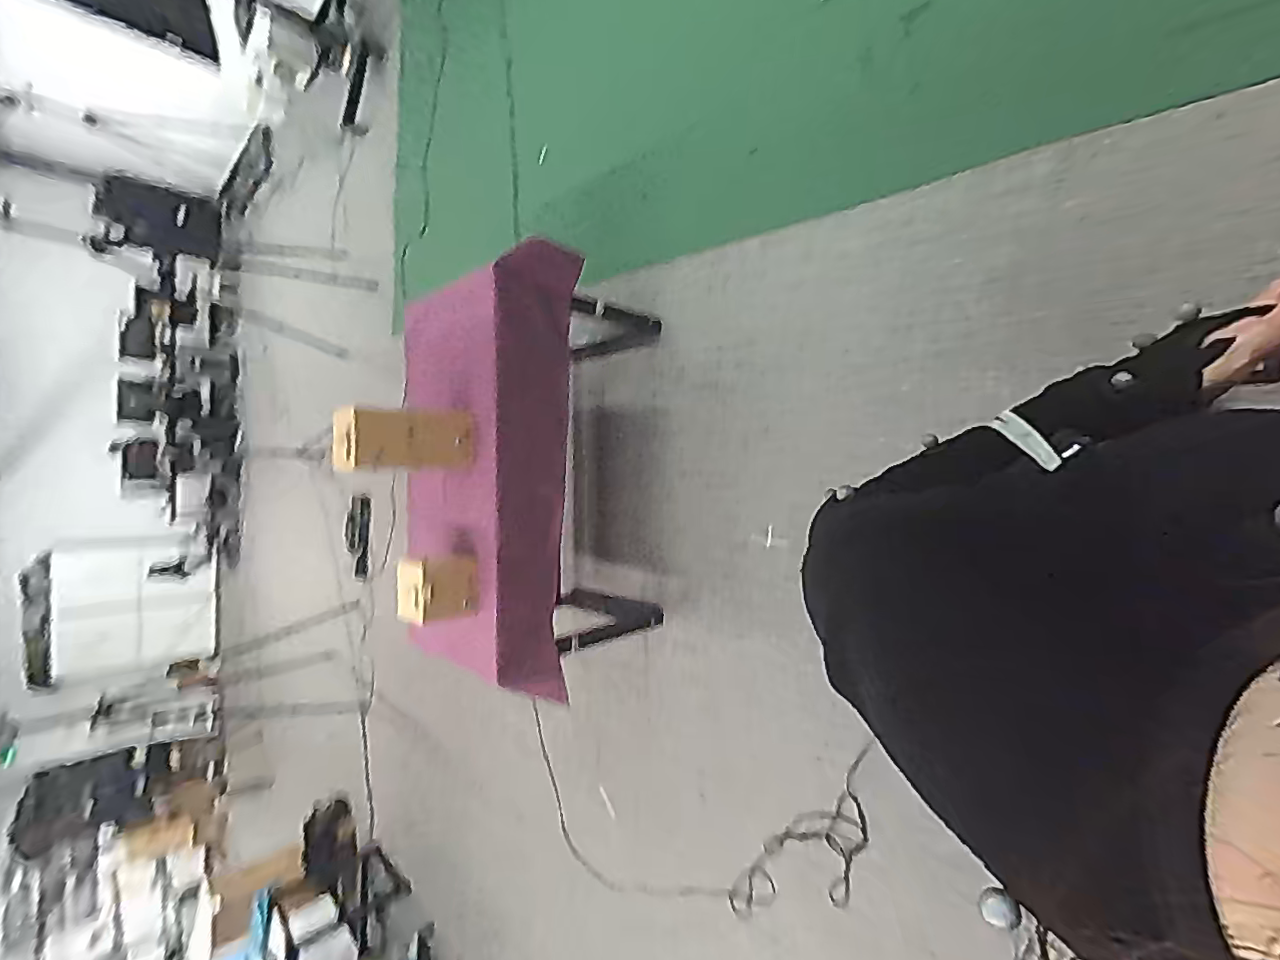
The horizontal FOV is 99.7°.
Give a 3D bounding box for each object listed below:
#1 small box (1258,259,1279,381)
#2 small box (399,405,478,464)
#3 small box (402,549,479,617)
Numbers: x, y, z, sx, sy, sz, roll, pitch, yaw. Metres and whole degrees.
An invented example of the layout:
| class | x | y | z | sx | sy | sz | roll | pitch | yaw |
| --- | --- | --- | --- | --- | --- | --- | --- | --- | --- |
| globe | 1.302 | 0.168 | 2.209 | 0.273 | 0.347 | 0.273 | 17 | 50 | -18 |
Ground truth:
| class | x | y | z | sx | sy | sz | roll | pitch | yaw |
| --- | --- | --- | --- | --- | --- | --- | --- | --- | --- |
| small box | 0.487 | -0.137 | 0.294 | 0.168 | 0.176 | 0.179 | 16 | 112 | 40 |
| small box | -0.604 | -0.133 | 1.622 | 0.179 | 0.176 | 0.168 | 4 | 94 | 44 |
| small box | -0.595 | 0.300 | 1.617 | 0.179 | 0.176 | 0.168 | -1 | 90 | 46 |
